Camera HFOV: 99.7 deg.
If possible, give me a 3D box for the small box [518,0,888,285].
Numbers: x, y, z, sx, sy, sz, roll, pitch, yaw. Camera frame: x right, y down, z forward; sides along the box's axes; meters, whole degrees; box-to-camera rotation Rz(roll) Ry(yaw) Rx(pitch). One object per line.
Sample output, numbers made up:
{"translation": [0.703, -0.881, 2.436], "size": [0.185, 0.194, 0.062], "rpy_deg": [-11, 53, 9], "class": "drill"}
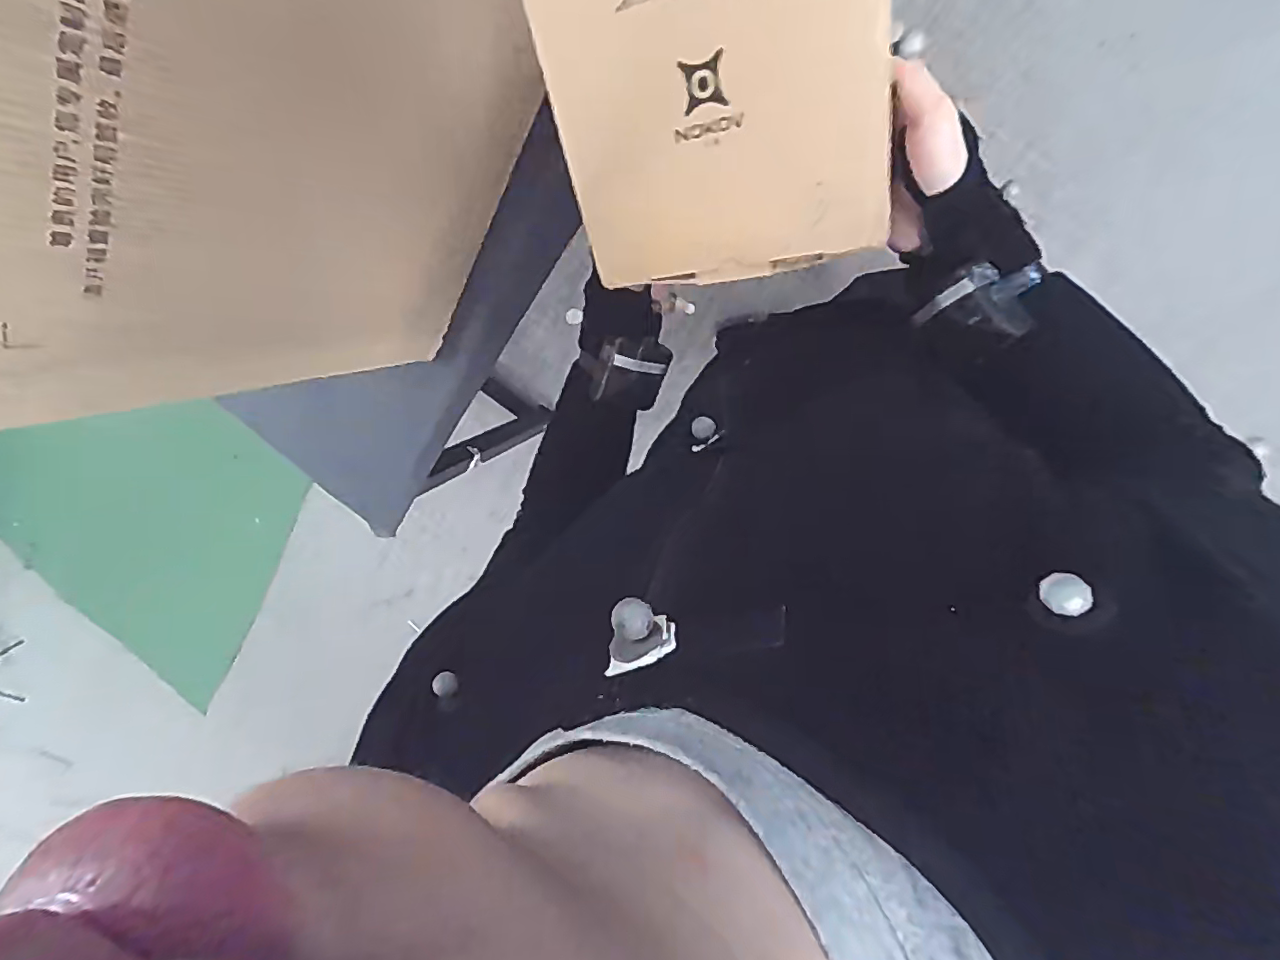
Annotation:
{"translation": [0.055, -0.240, 0.321], "size": [0.168, 0.176, 0.179], "rpy_deg": [0, 127, 24], "class": "small box"}
